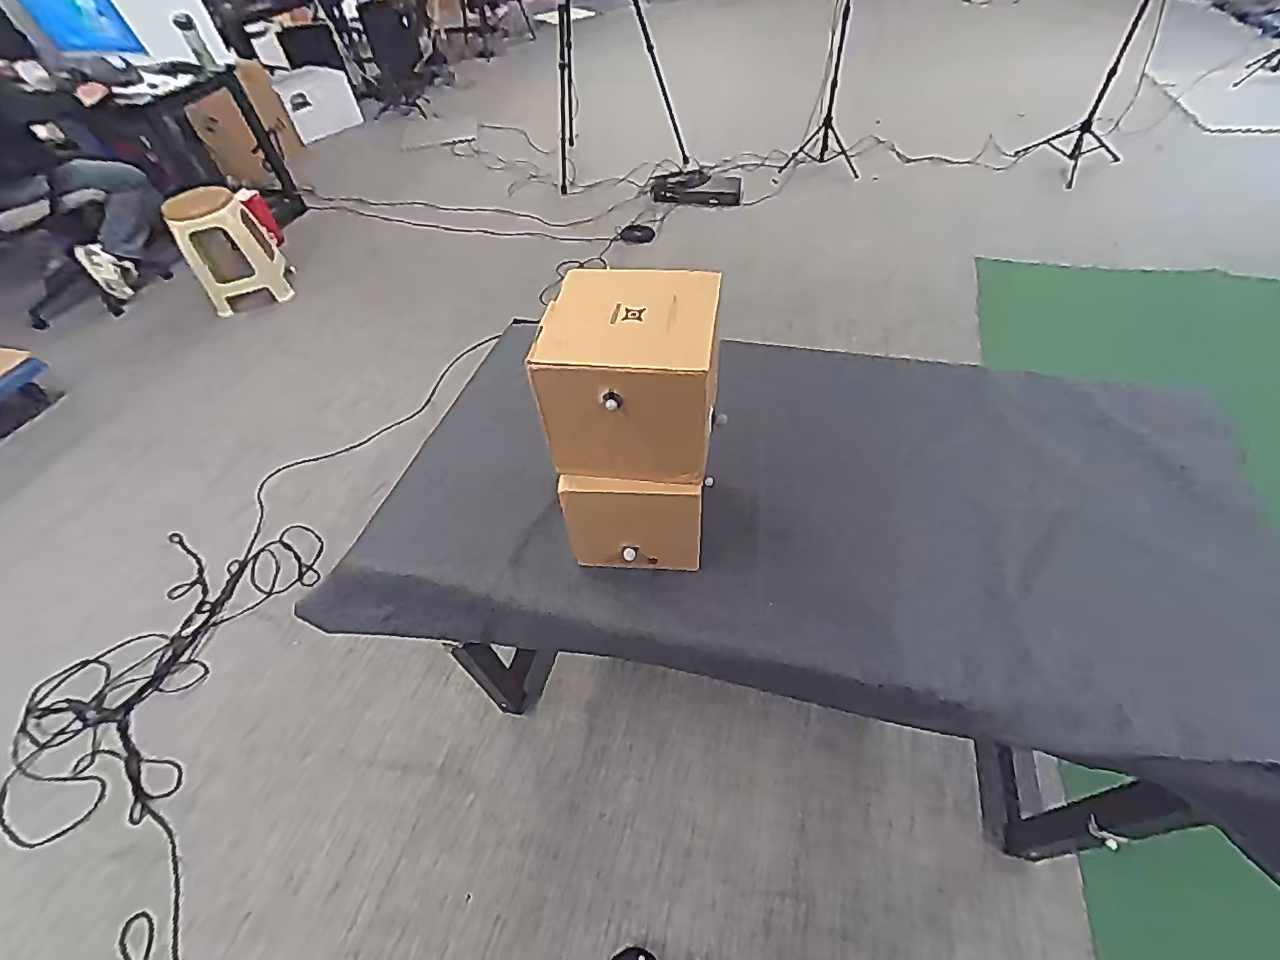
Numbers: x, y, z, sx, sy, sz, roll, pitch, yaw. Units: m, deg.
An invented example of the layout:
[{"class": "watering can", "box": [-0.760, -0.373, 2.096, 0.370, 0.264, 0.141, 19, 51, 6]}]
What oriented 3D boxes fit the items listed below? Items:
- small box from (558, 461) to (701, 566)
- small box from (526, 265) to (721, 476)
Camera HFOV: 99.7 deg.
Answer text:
[{"class": "small box", "box": [-0.002, -0.006, 0.726, 0.168, 0.176, 0.179, 1, 51, 6]}, {"class": "small box", "box": [-0.006, -0.120, 0.609, 0.179, 0.176, 0.168, 5, 53, 8]}]
